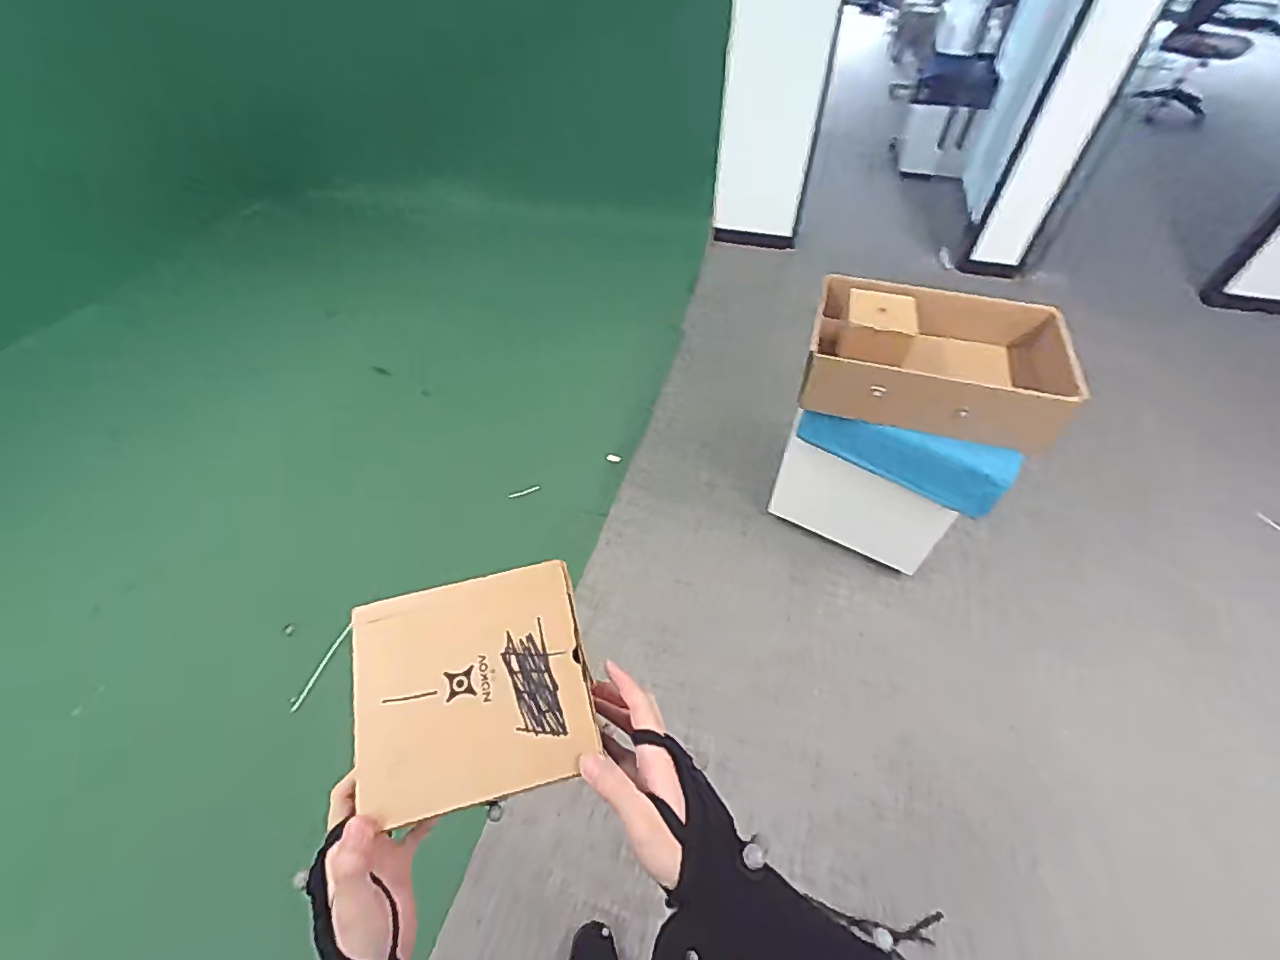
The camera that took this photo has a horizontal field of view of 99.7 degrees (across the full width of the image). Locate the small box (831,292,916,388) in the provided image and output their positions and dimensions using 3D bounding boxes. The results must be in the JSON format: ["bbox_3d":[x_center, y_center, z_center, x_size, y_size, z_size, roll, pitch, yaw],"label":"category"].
[{"bbox_3d":[0.622,-0.376,1.455,0.168,0.176,0.179,12,51,10],"label":"small box"}]

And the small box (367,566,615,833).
[{"bbox_3d":[-0.123,0.196,0.488,0.179,0.176,0.168,-11,62,-8],"label":"small box"}]
